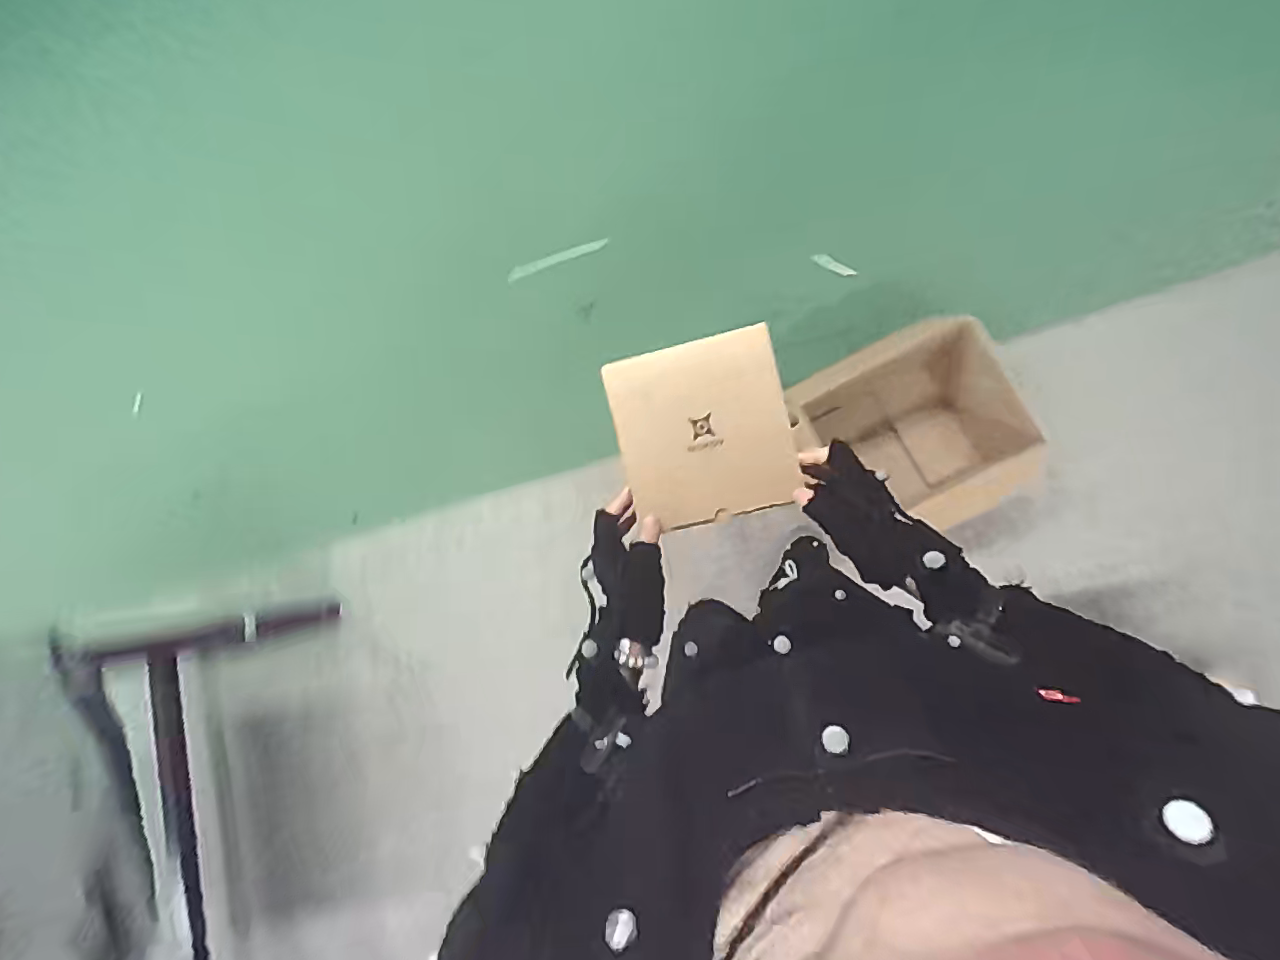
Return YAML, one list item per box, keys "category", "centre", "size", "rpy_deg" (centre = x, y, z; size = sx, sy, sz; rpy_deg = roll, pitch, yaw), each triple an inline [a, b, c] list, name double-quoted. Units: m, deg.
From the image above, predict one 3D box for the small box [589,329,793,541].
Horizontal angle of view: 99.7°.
- category: "small box"
  centre: [0.054, -0.044, 0.601]
  size: [0.168, 0.176, 0.179]
  rpy_deg: [-15, 91, 6]
